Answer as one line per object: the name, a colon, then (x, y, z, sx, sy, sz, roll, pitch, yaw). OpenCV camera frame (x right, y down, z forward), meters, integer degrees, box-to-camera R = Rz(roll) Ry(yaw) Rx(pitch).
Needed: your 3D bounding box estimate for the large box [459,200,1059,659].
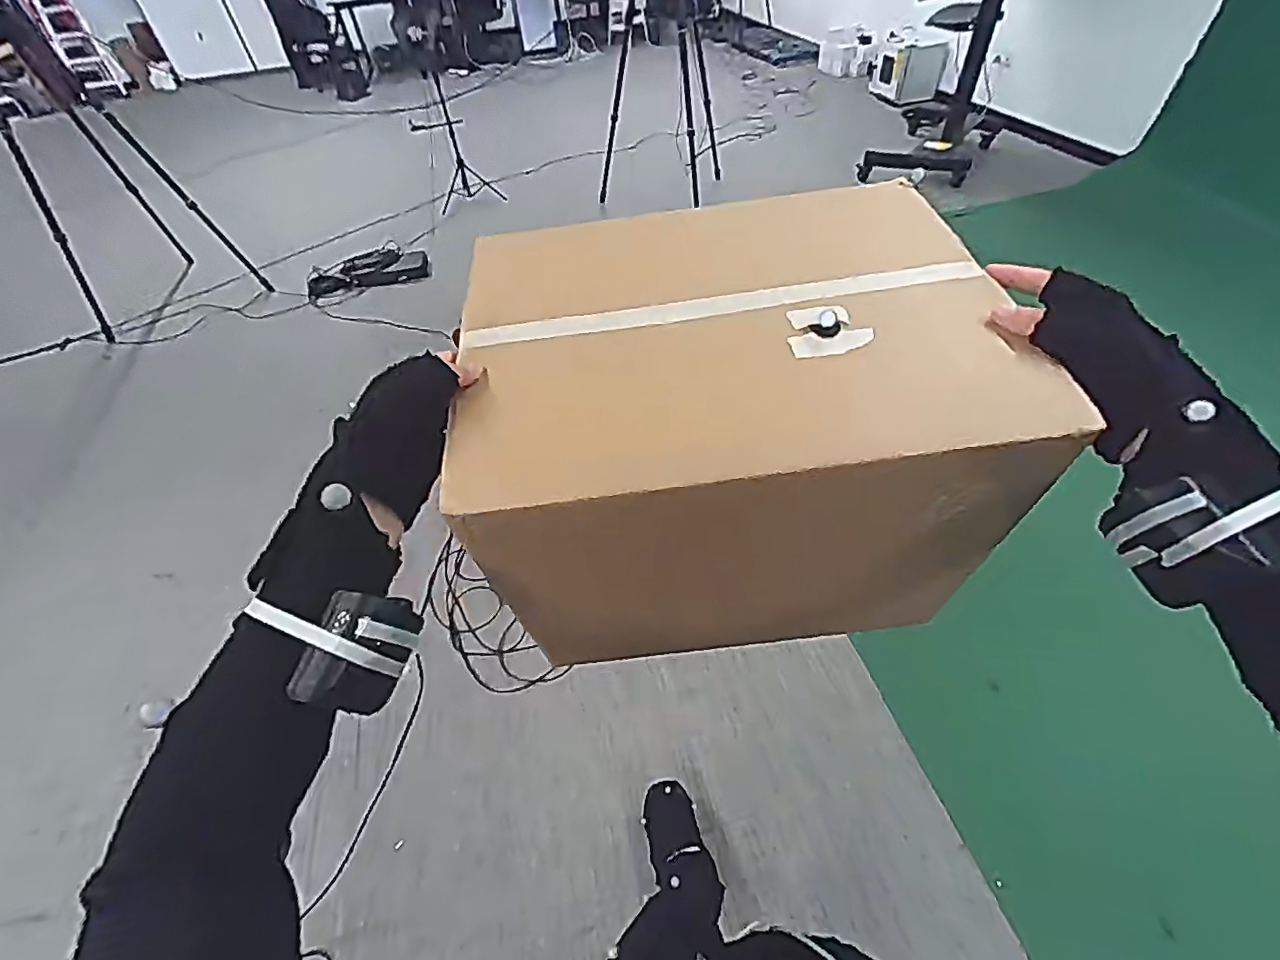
large box: (0.072, -0.039, 0.555, 0.408, 0.320, 0.320, -7, 54, 0)
